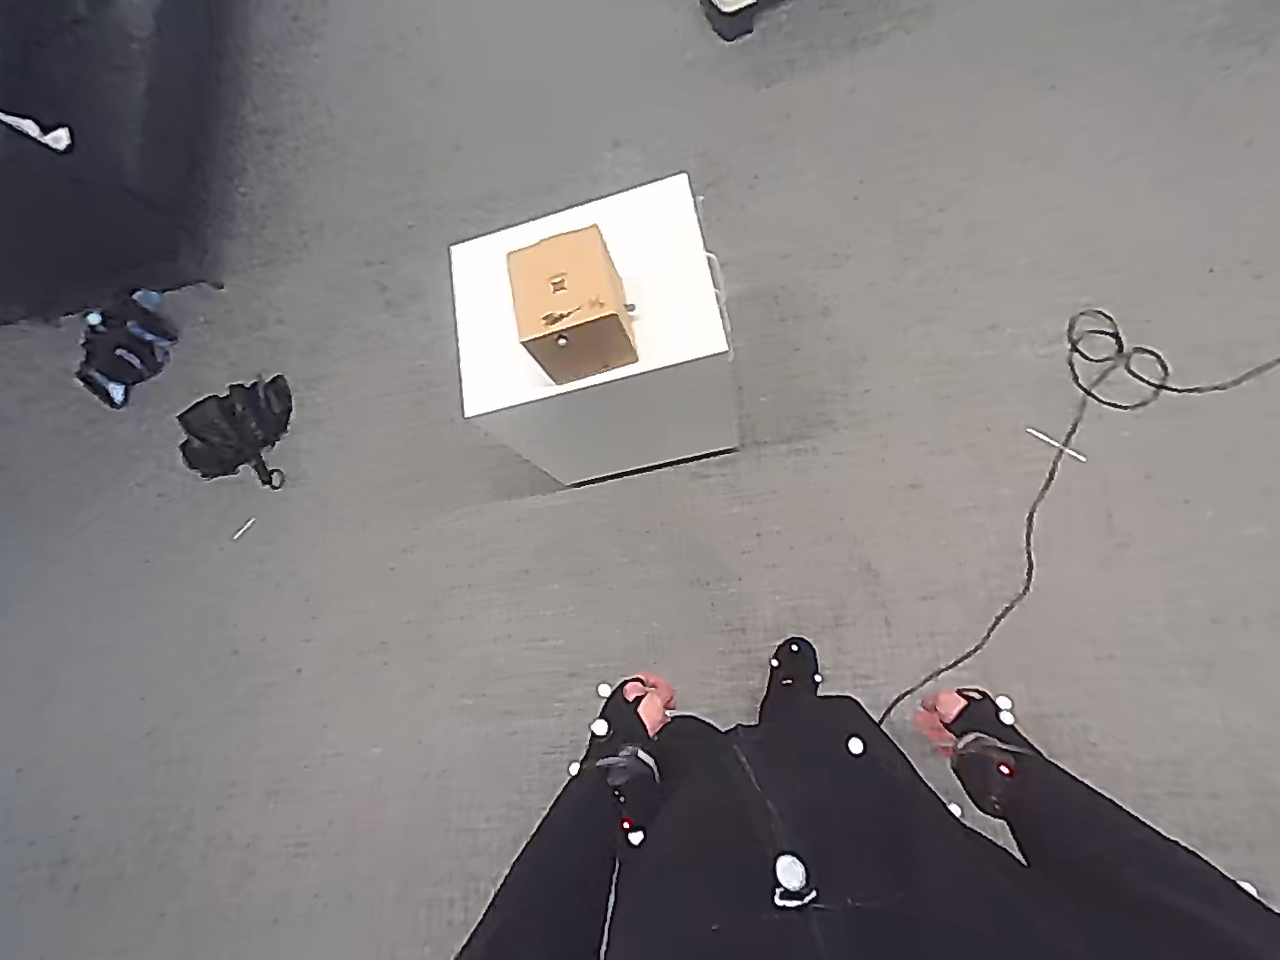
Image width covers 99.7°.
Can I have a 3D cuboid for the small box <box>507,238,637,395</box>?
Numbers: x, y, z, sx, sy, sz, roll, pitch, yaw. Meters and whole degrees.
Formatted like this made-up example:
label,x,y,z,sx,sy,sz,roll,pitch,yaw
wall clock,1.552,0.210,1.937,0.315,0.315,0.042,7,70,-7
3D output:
label,x,y,z,sx,sy,sz,roll,pitch,yaw
small box,-0.115,-0.277,0.945,0.168,0.176,0.179,-16,71,8
